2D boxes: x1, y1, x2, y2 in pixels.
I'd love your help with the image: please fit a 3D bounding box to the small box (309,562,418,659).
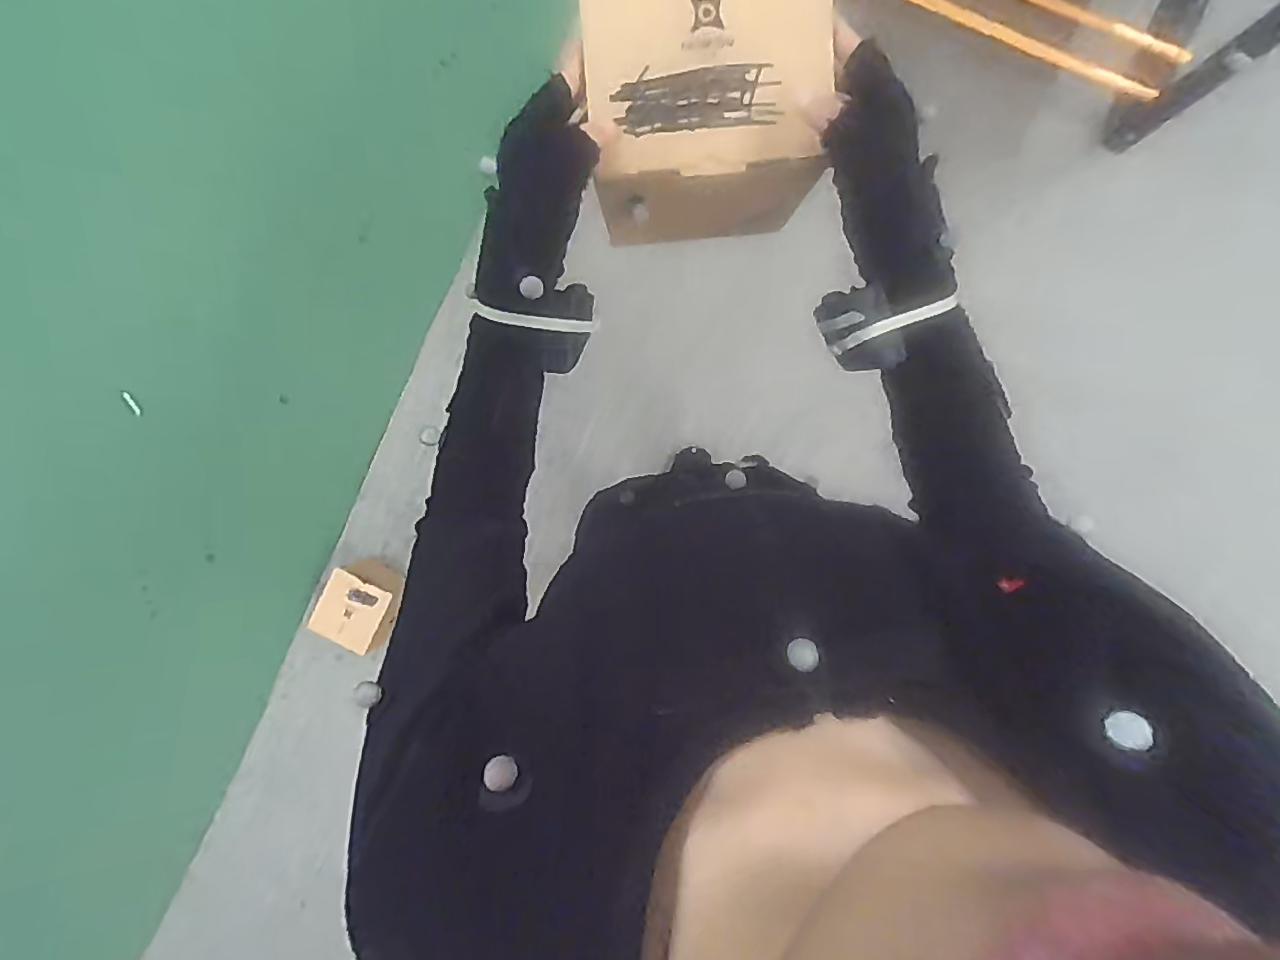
[{"bbox_3d":[-0.715,0.333,1.421,0.168,0.176,0.179,26,92,2],"label":"small box"}]
